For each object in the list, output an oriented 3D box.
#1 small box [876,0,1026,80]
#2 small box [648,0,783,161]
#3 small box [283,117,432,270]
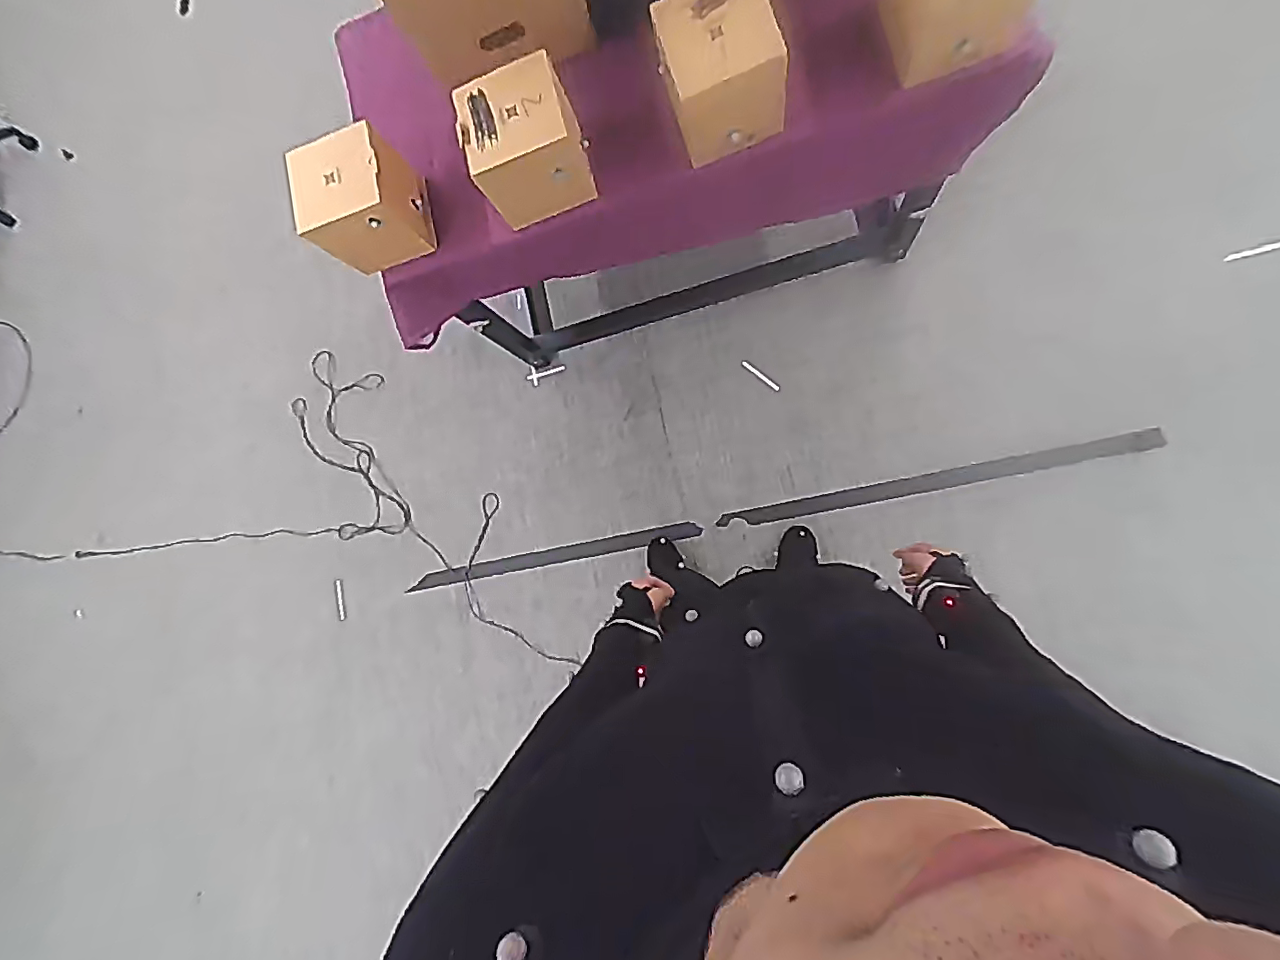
[{"bbox_3d":[0.467,-0.761,0.808,0.168,0.176,0.179,-13,83,13],"label":"small box"},{"bbox_3d":[0.126,-0.674,0.883,0.168,0.176,0.179,-18,83,12],"label":"small box"},{"bbox_3d":[-0.527,-0.527,1.023,0.179,0.176,0.168,-14,83,10],"label":"small box"}]
